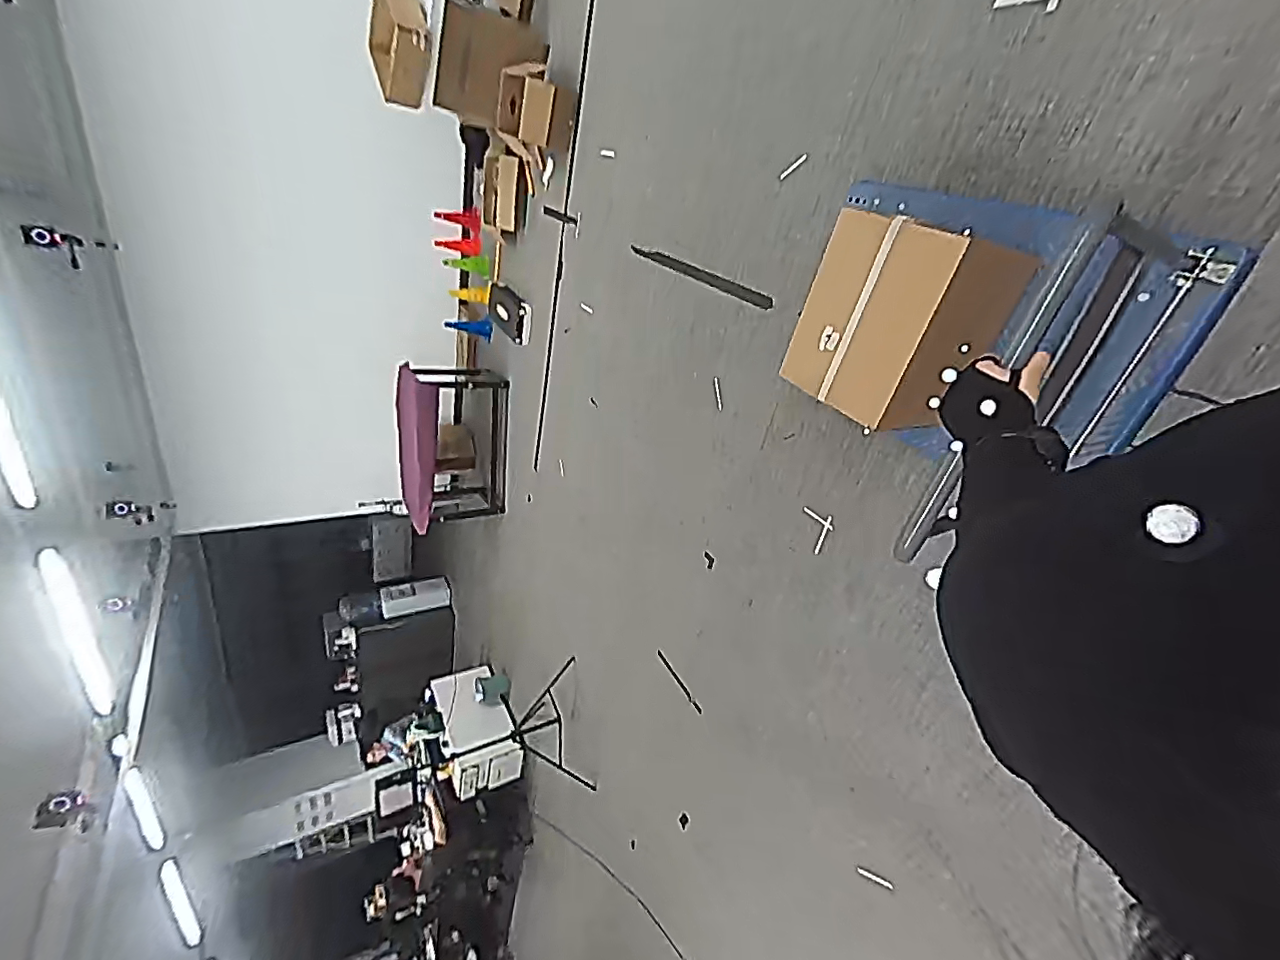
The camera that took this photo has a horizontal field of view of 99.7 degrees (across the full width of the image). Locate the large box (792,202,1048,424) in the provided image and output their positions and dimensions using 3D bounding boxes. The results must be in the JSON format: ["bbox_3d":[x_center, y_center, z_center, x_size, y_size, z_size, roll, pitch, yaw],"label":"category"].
[{"bbox_3d":[0.629,-0.384,1.260,0.320,0.320,0.408,48,135,44],"label":"large box"}]
